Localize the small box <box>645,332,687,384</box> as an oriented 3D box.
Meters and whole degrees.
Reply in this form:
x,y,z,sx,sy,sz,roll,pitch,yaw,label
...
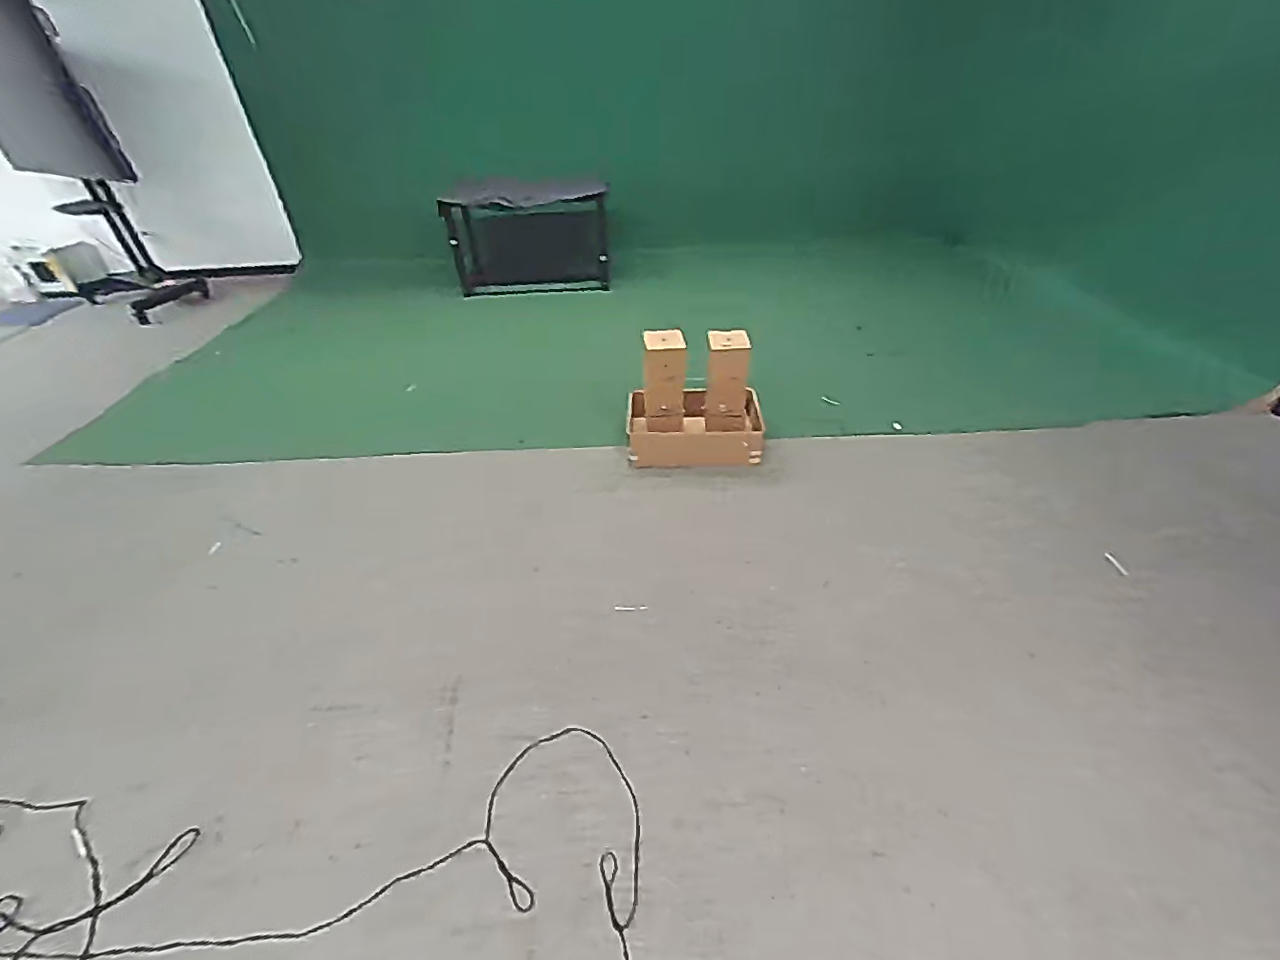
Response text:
x,y,z,sx,sy,sz,roll,pitch,yaw,label
0.113,-0.530,2.373,0.168,0.176,0.179,-3,40,-4,small box

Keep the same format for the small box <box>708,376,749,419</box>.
x,y,z,sx,sy,sz,roll,pitch,yaw,label
0.398,-0.395,2.453,0.168,0.176,0.179,-1,41,4,small box

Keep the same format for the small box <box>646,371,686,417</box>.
x,y,z,sx,sy,sz,roll,pitch,yaw,label
0.114,-0.404,2.479,0.168,0.176,0.179,-4,41,-3,small box

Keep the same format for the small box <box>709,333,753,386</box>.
x,y,z,sx,sy,sz,roll,pitch,yaw,label
0.390,-0.523,2.349,0.168,0.176,0.179,-2,38,2,small box

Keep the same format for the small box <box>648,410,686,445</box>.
x,y,z,sx,sy,sz,roll,pitch,yaw,label
0.125,-0.284,2.592,0.168,0.176,0.179,-3,40,-2,small box
